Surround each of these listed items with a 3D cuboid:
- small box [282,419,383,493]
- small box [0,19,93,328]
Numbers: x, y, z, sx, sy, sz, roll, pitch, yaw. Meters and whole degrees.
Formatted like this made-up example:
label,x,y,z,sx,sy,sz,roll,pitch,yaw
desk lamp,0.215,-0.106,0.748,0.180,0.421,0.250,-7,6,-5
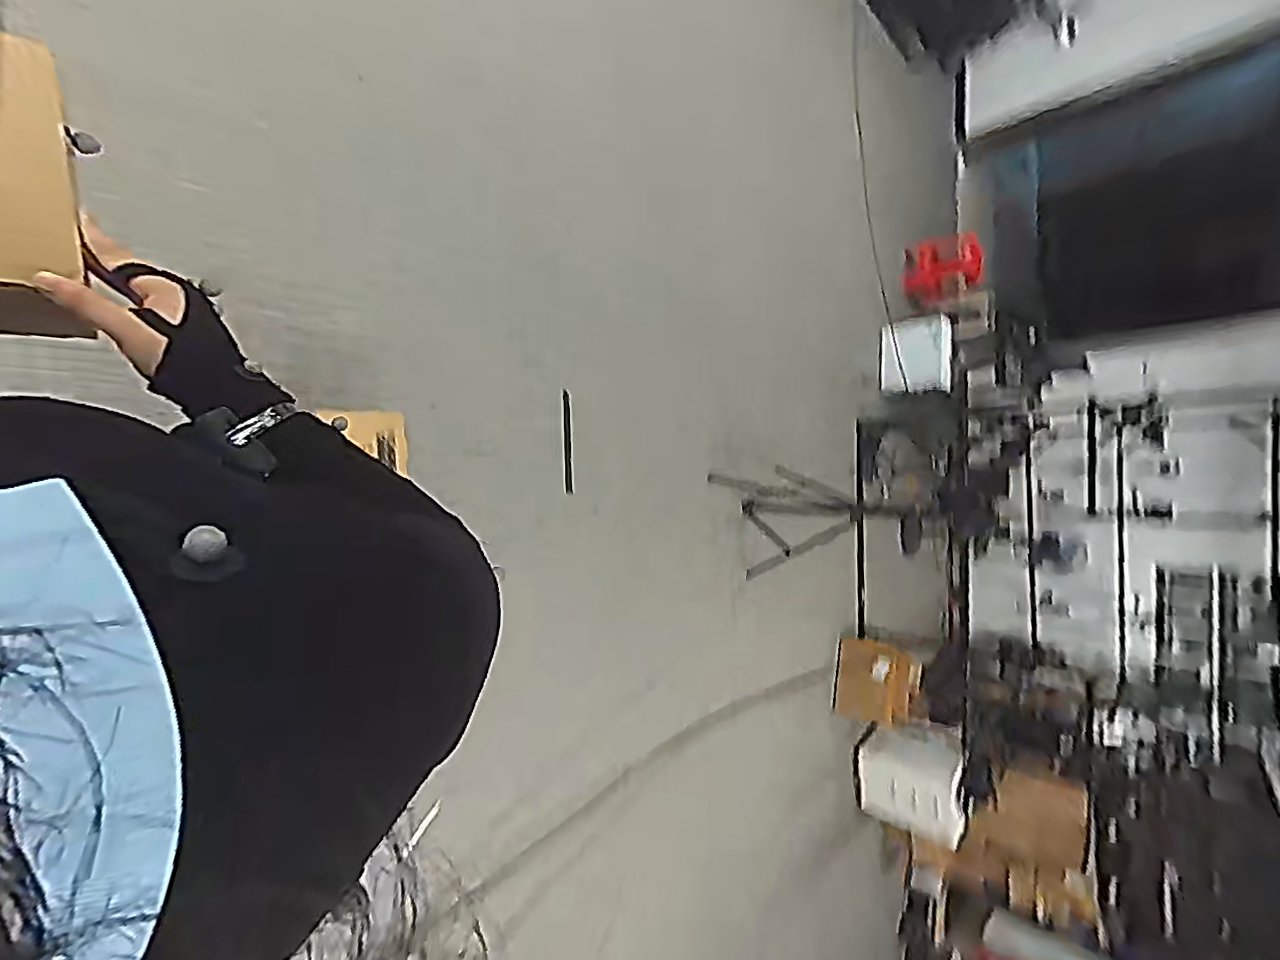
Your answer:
label,x,y,z,sx,sy,sz,roll,pitch,yaw
small box,-0.746,-0.057,1.312,0.179,0.176,0.168,-3,92,-45
small box,-0.522,-0.218,0.387,0.168,0.176,0.179,-10,98,-43
